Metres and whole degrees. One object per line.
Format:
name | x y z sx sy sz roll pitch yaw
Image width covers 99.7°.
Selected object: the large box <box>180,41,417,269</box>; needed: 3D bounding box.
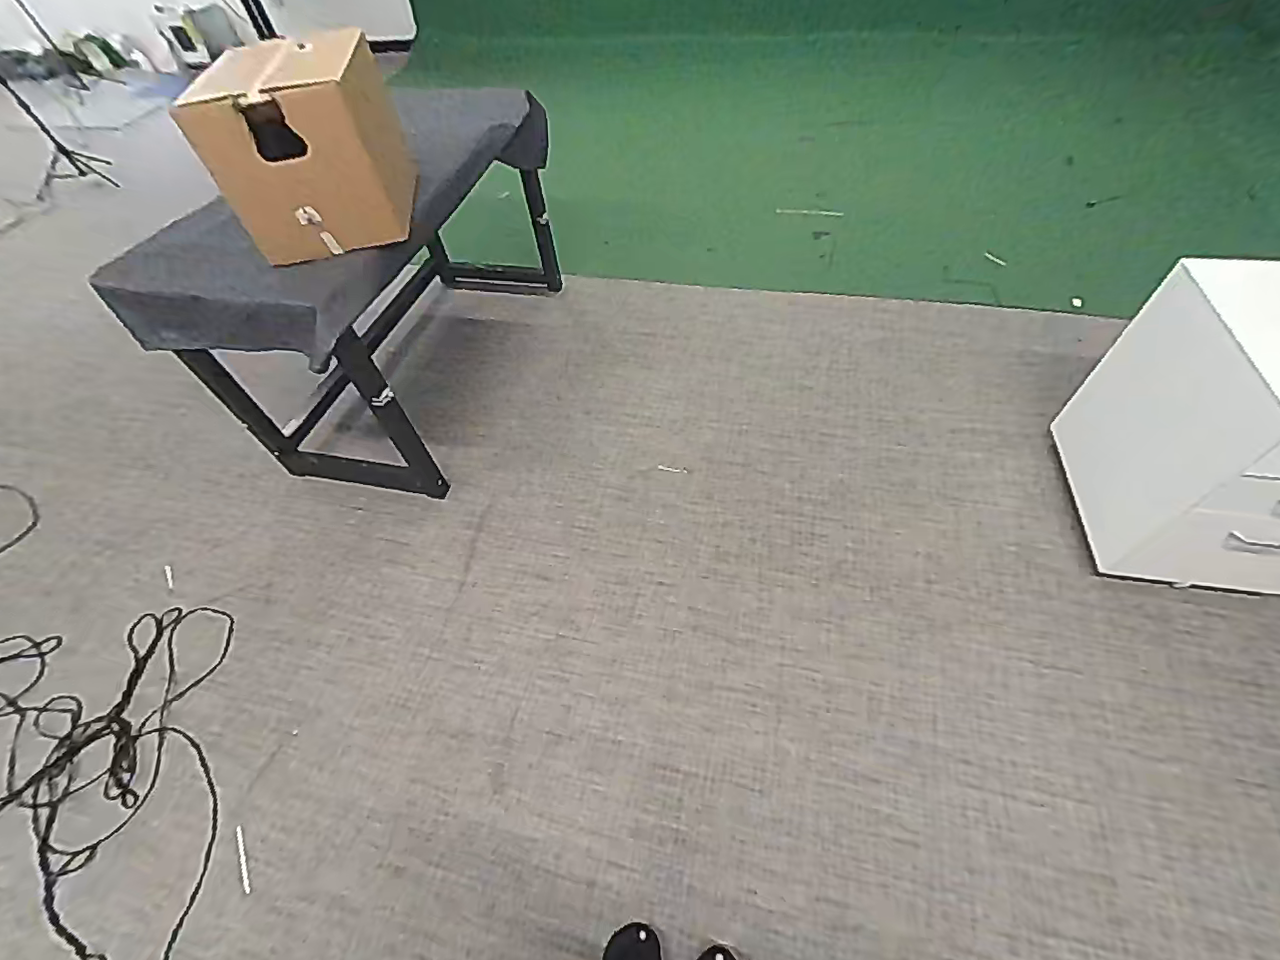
large box | -0.728 -0.745 1.237 0.320 0.320 0.408 -12 51 -4
